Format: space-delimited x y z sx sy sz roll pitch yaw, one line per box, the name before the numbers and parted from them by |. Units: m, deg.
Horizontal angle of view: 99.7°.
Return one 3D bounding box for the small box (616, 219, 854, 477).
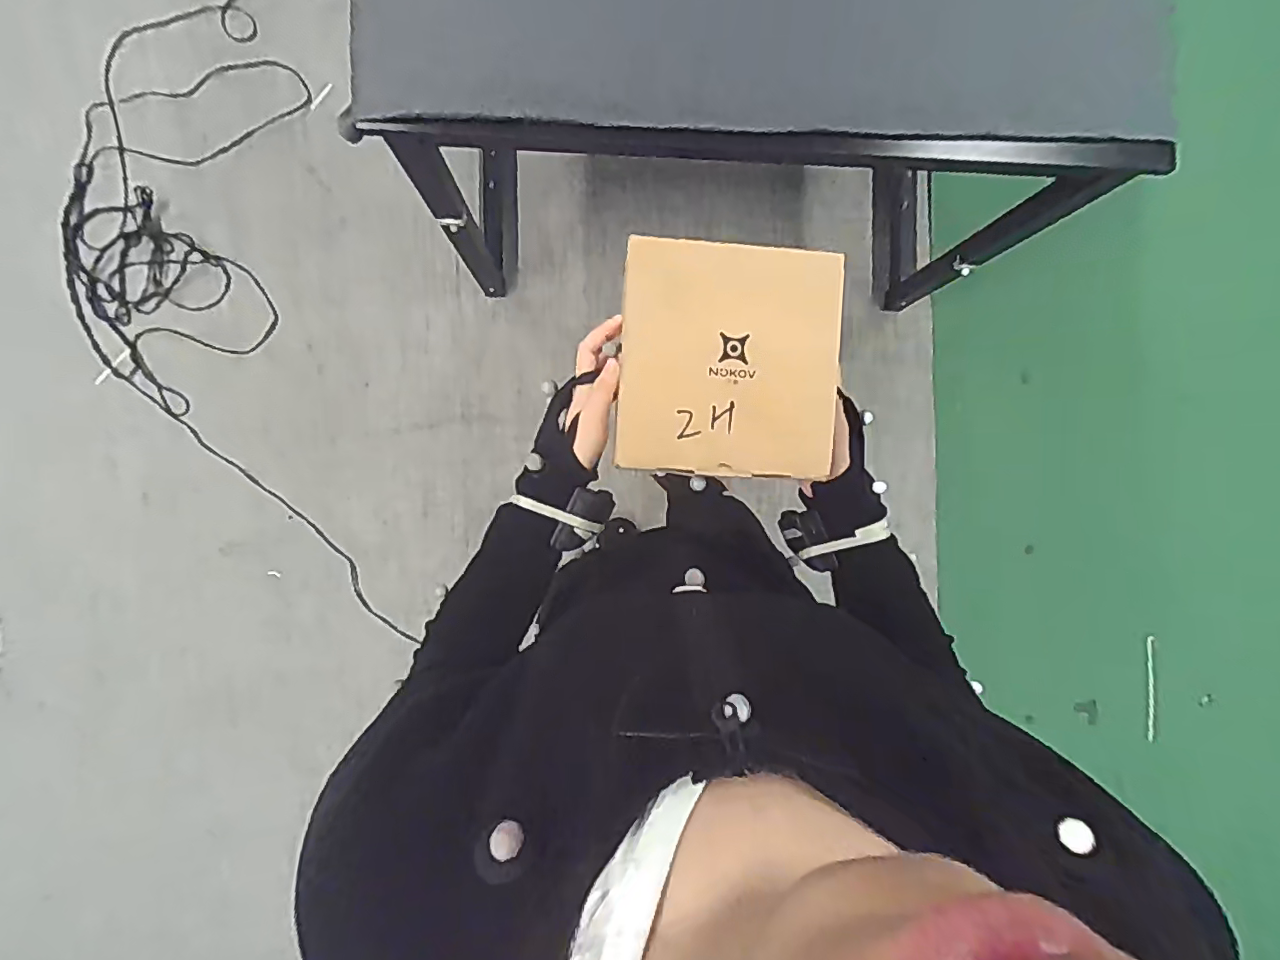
small box | 0.067 -0.096 0.472 0.168 0.176 0.179 3 90 -3
